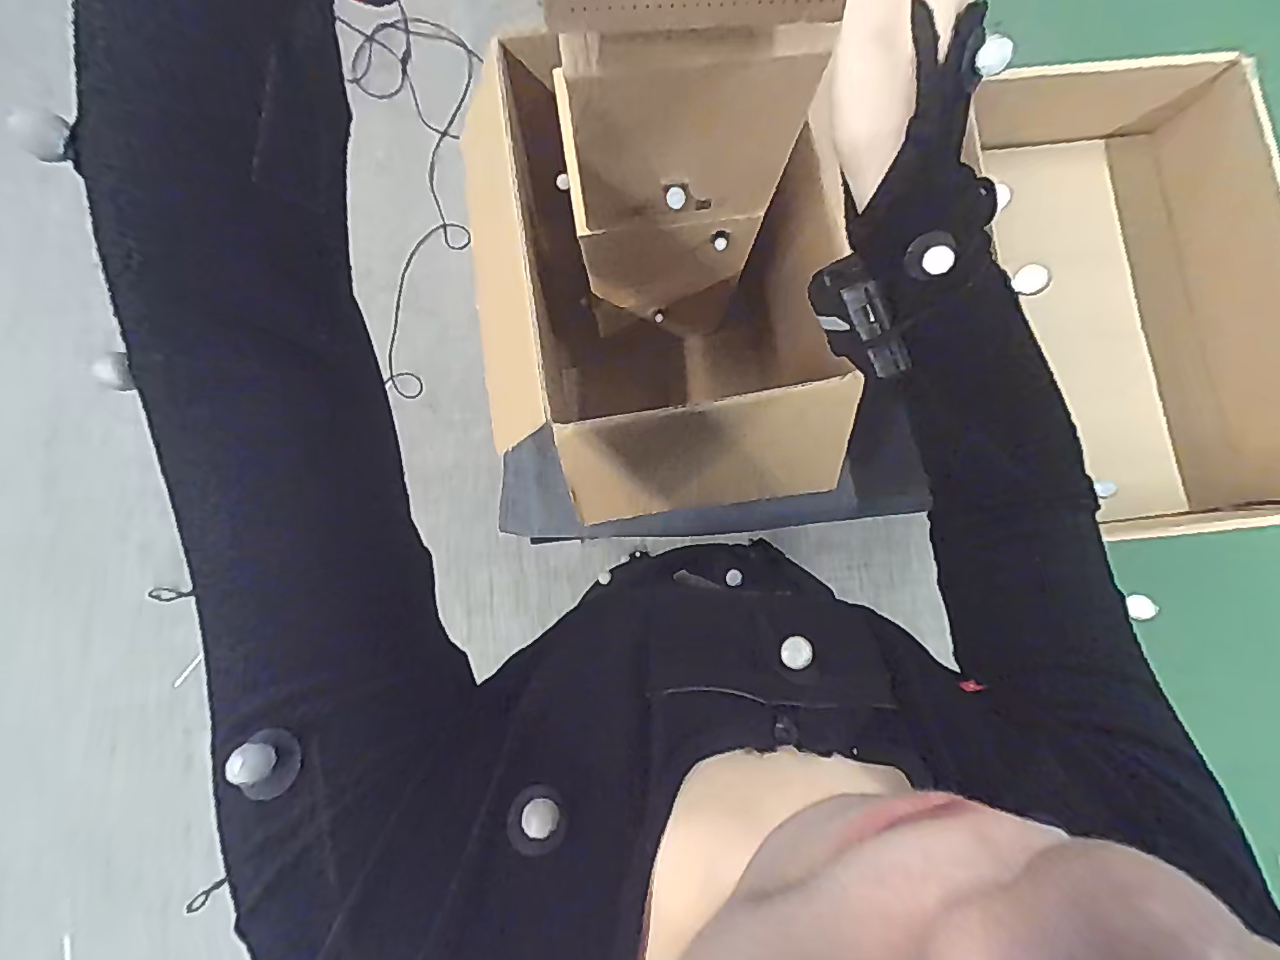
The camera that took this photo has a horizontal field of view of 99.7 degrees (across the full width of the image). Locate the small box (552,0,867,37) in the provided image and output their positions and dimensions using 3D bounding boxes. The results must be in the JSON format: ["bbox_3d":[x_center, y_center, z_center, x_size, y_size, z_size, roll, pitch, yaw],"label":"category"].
[{"bbox_3d":[0.035,-0.322,0.216,0.179,0.176,0.168,-3,90,0],"label":"small box"}]

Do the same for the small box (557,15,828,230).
[{"bbox_3d":[0.024,-0.324,0.415,0.168,0.176,0.179,-7,86,-1],"label":"small box"}]
